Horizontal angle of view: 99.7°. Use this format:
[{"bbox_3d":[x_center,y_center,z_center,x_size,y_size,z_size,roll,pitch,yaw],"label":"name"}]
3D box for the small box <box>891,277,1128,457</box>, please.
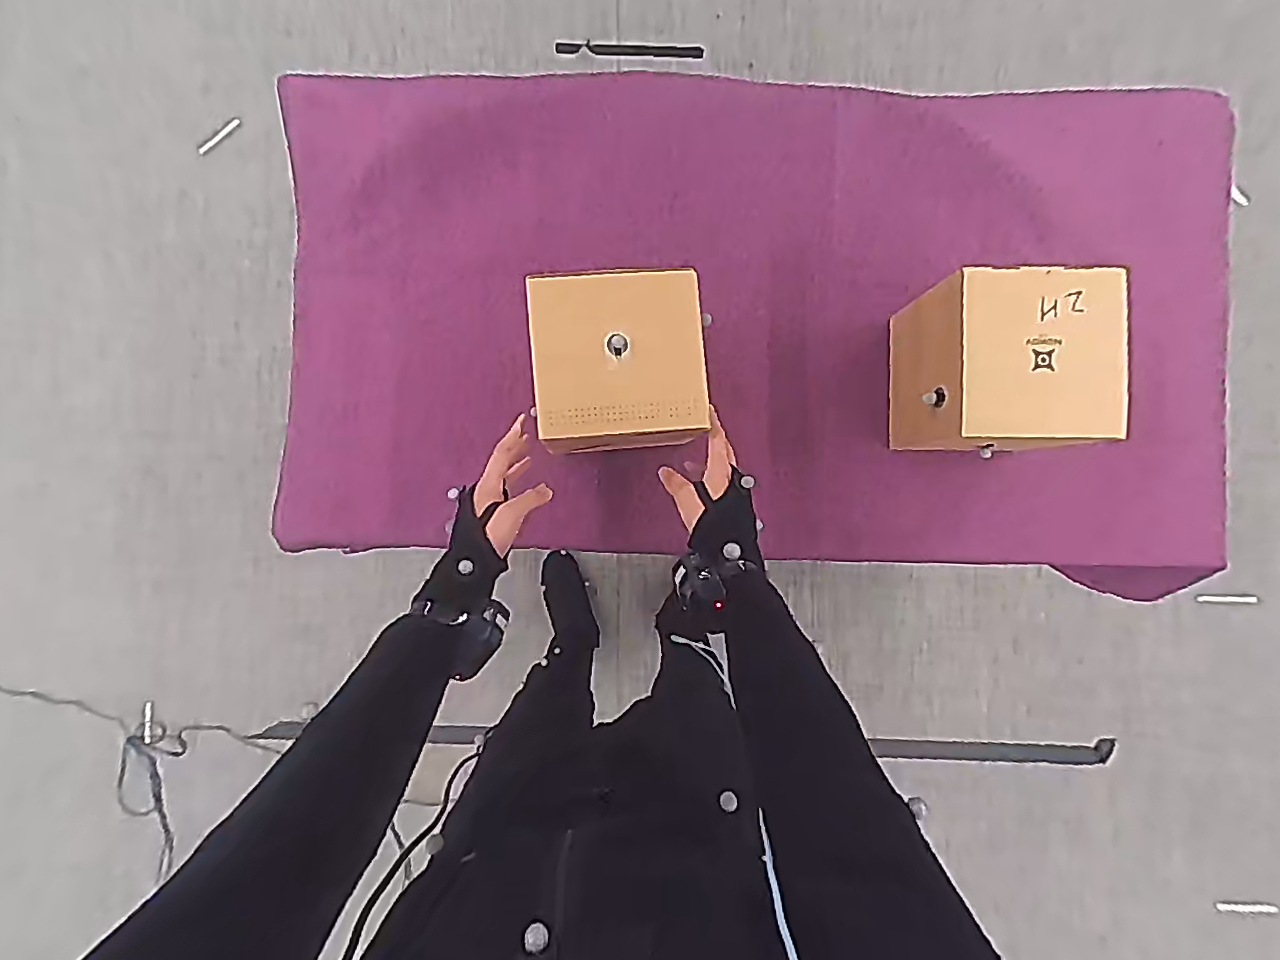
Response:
[{"bbox_3d":[0.409,-0.118,0.628,0.168,0.176,0.179,1,89,1],"label":"small box"}]
